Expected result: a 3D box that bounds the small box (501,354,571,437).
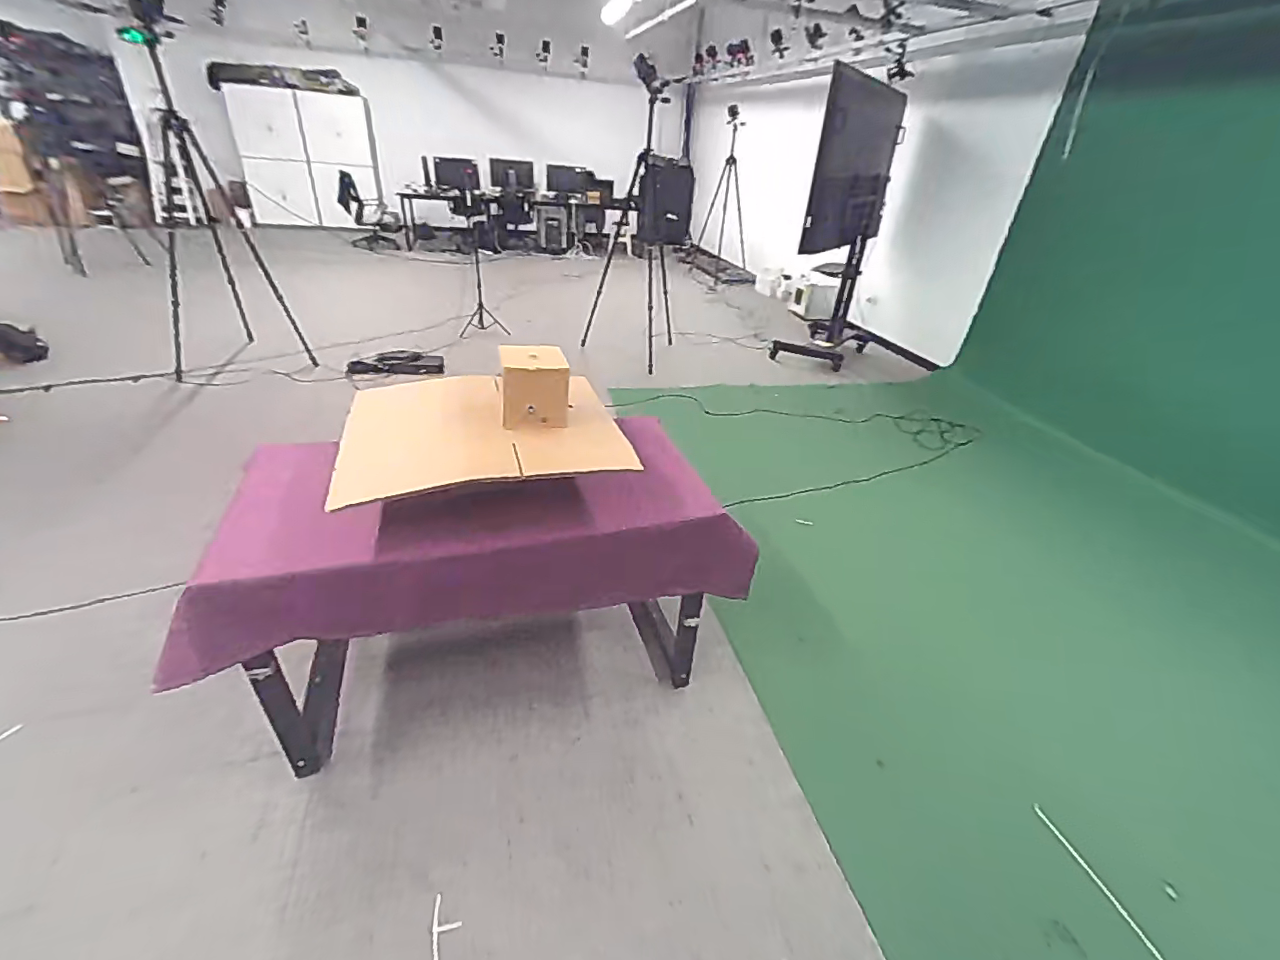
[{"bbox_3d":[-0.283,-0.227,1.447,0.168,0.176,0.179,-3,33,-17],"label":"small box"}]
